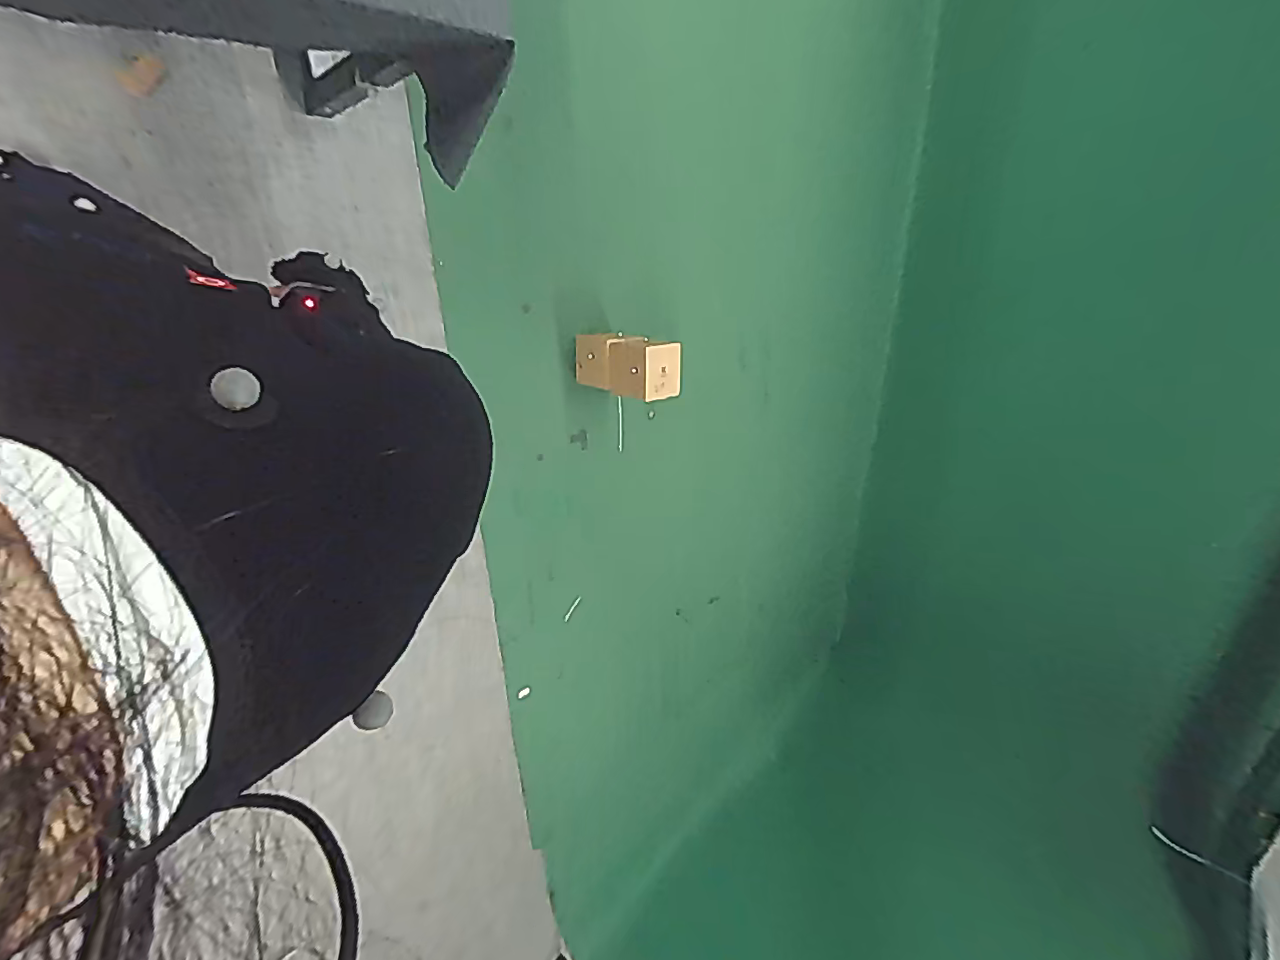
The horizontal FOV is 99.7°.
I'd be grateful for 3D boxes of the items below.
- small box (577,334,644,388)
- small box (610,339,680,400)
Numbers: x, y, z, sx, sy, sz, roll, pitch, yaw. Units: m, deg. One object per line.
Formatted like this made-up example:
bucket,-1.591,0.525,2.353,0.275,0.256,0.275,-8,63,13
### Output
small box,-0.108,-0.419,1.884,0.179,0.176,0.168,-18,117,-42
small box,0.015,-0.371,1.786,0.168,0.176,0.179,-19,119,-42
